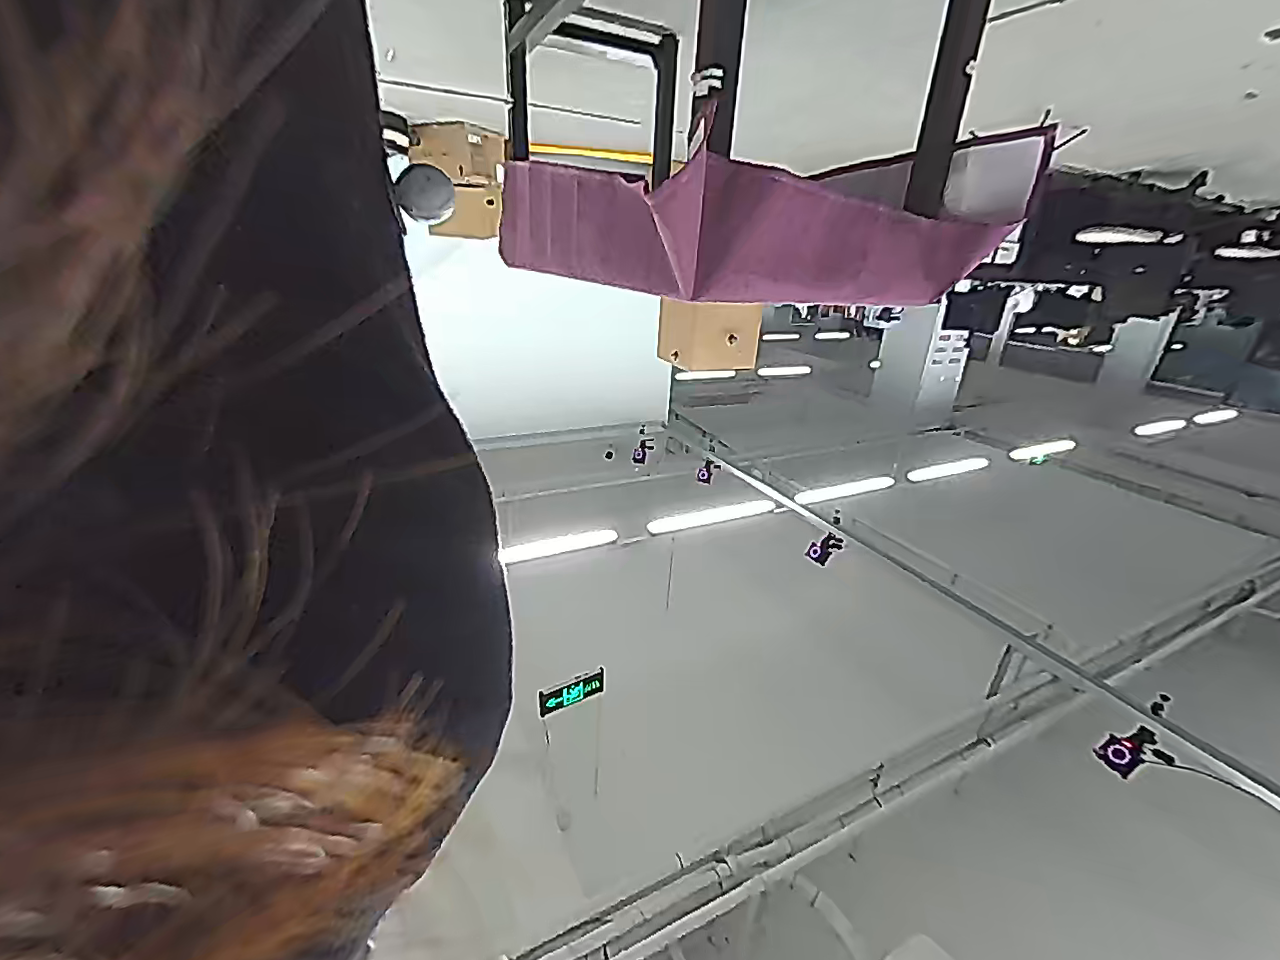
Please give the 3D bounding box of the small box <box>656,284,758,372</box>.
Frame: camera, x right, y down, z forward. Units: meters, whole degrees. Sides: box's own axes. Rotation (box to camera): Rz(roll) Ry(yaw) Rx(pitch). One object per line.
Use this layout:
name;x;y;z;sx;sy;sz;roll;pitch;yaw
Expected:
small box;0.152;-0.355;1.245;0.179;0.176;0.168;-9;-154;-24
